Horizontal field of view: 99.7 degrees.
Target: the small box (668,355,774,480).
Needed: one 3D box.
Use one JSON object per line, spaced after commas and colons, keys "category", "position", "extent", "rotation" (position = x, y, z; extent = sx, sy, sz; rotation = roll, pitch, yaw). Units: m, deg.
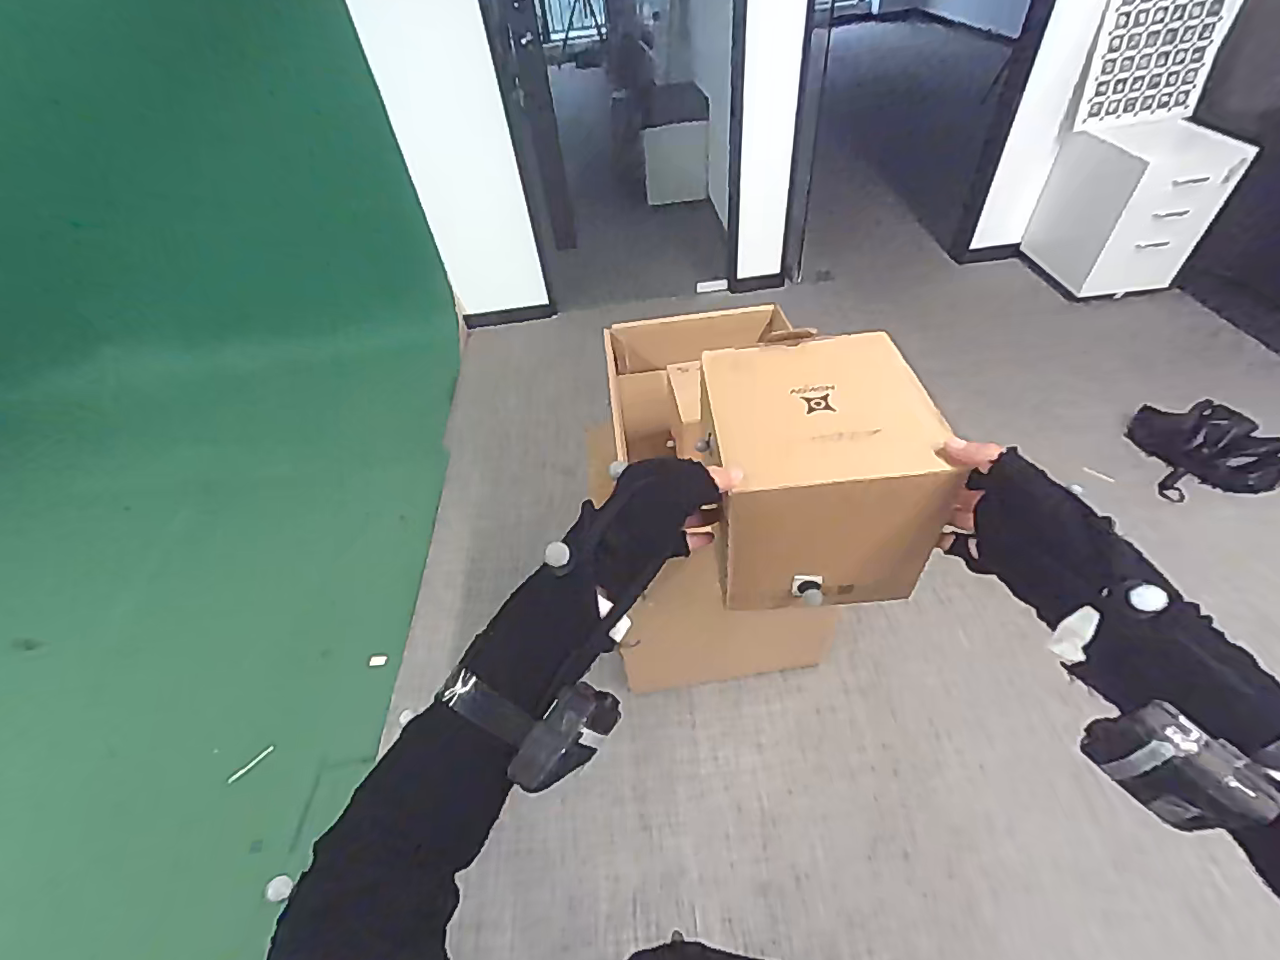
{"category": "small box", "position": [0.150, -0.115, 1.045], "extent": [0.168, 0.176, 0.179], "rotation": [-7, 47, -1]}
